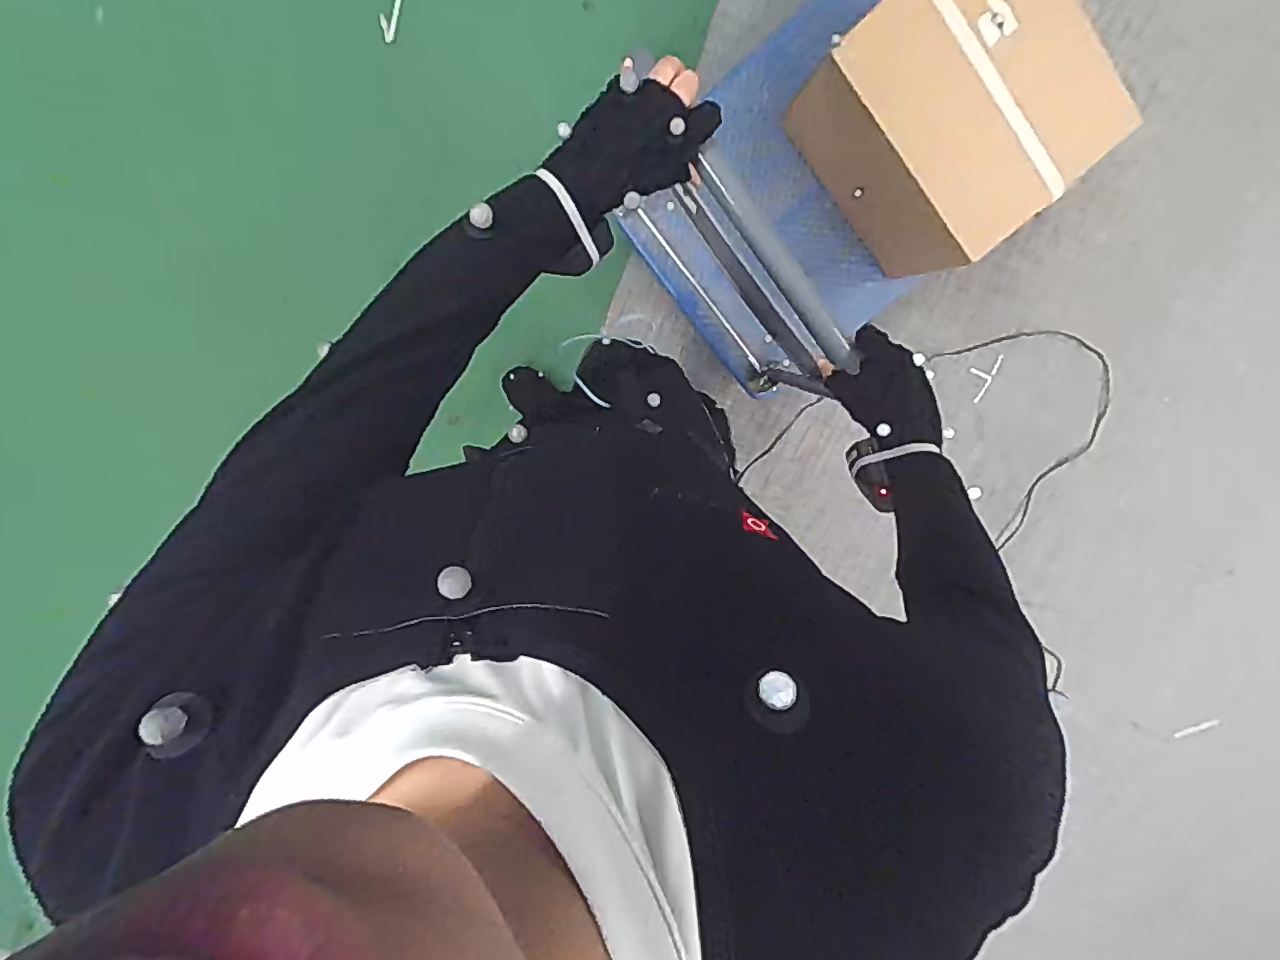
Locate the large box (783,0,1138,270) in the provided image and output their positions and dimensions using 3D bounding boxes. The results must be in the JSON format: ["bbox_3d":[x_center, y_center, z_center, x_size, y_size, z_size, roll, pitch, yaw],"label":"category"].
[{"bbox_3d":[0.530,-0.648,0.970,0.320,0.320,0.408,-41,101,10],"label":"large box"}]
